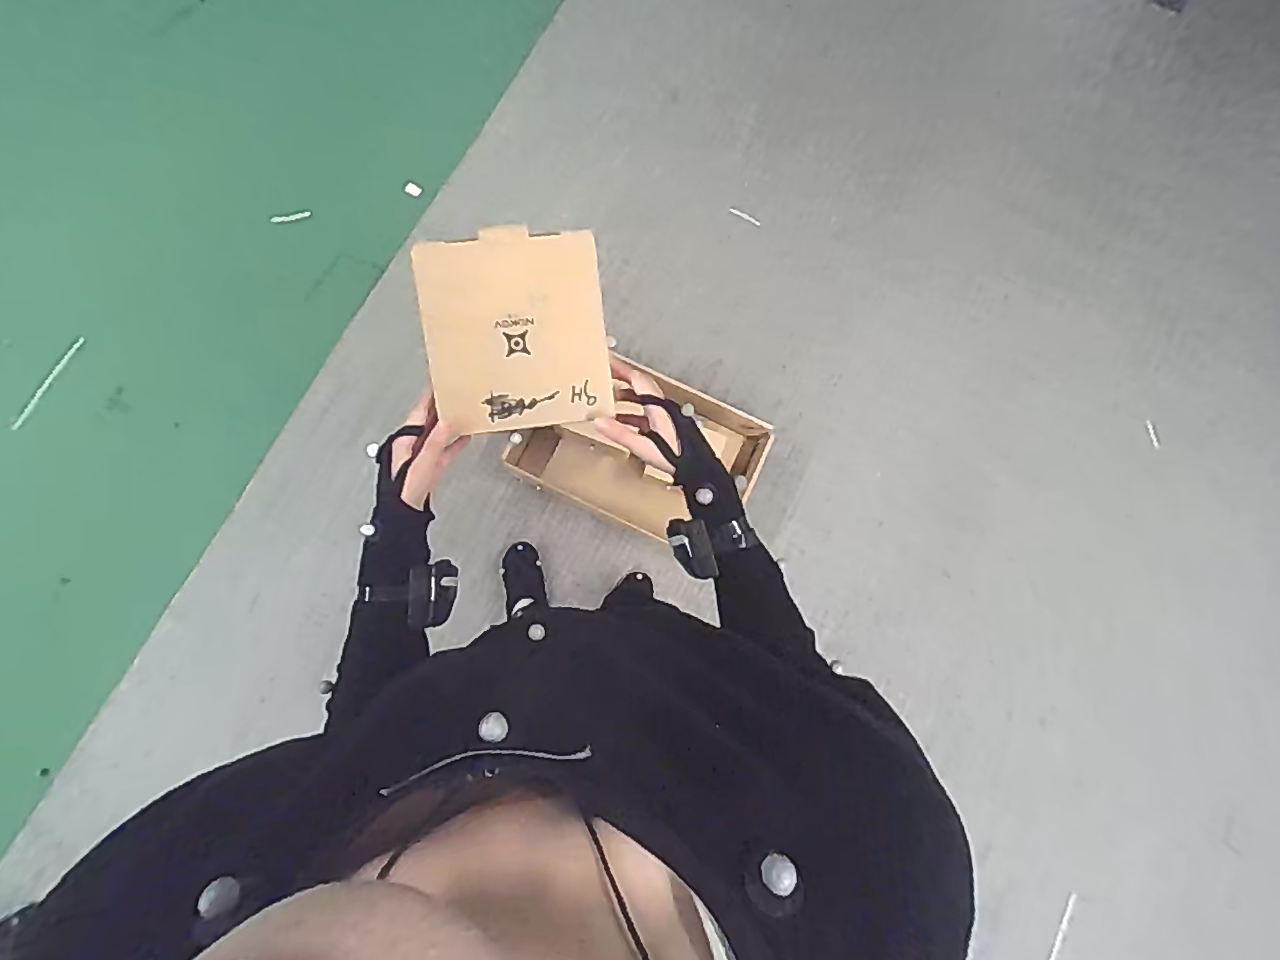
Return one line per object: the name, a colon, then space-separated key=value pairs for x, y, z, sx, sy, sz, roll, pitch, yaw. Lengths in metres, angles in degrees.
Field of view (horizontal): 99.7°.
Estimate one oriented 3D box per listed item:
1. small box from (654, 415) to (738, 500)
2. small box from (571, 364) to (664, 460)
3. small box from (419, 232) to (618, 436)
small box: x=0.142 y=-0.052 z=1.447 sx=0.179 sy=0.176 sz=0.168 roll=19 pitch=83 yaw=2
small box: x=-0.051 y=-0.159 z=1.296 sx=0.168 sy=0.176 sz=0.179 roll=21 pitch=84 yaw=0
small box: x=-0.118 y=-0.142 z=0.583 sx=0.168 sy=0.176 sz=0.179 roll=-8 pitch=97 yaw=-4
